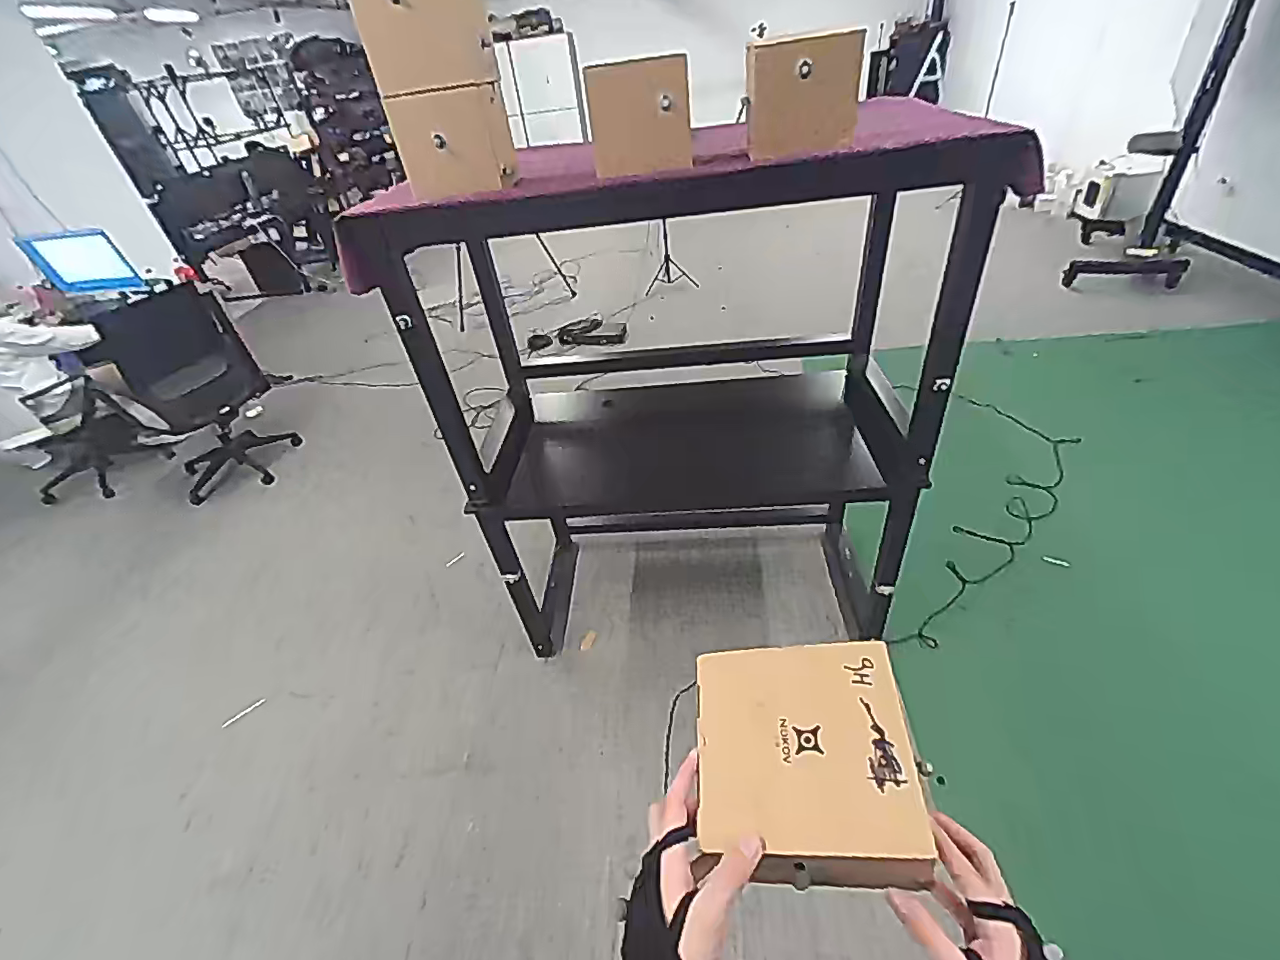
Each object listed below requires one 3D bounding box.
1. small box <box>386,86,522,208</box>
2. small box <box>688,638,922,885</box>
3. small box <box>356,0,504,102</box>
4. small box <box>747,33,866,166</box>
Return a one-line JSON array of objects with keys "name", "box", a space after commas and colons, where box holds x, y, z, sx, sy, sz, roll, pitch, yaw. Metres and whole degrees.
[{"name": "small box", "box": [-0.339, -0.633, 1.029, 0.179, 0.176, 0.168, -5, 38, 6]}, {"name": "small box", "box": [0.154, 0.269, 0.511, 0.179, 0.176, 0.168, -10, 46, 17]}, {"name": "small box", "box": [-0.356, -0.763, 0.929, 0.179, 0.176, 0.168, -3, 38, 6]}, {"name": "small box", "box": [0.284, -0.671, 0.957, 0.179, 0.176, 0.168, -2, 41, 8]}]
